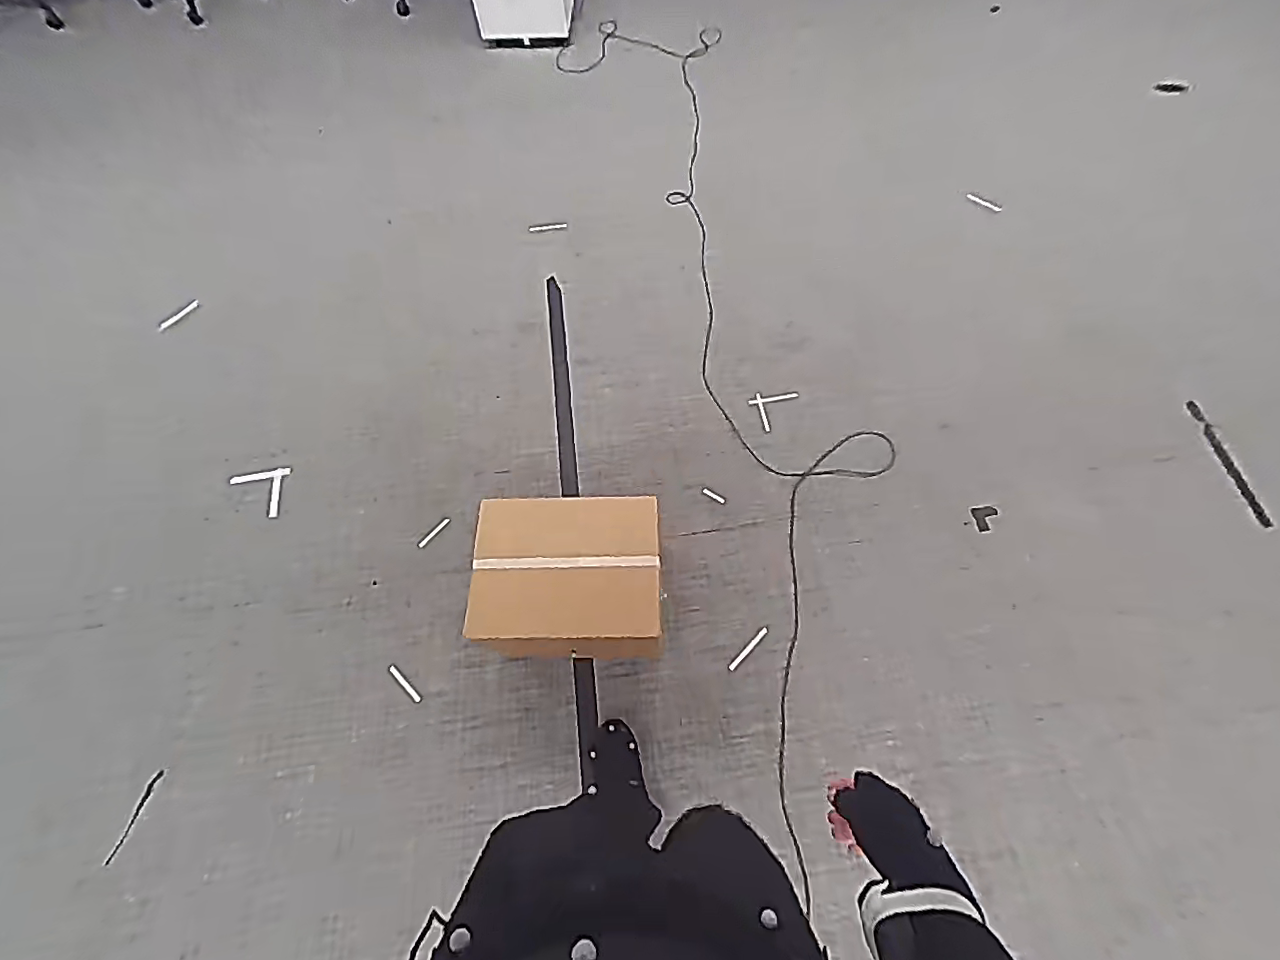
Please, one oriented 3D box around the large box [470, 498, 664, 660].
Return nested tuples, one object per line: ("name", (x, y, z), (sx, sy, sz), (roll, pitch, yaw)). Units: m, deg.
("large box", (-0.150, 0.247, 1.293), (0.408, 0.320, 0.320), (-1, 66, 2))
